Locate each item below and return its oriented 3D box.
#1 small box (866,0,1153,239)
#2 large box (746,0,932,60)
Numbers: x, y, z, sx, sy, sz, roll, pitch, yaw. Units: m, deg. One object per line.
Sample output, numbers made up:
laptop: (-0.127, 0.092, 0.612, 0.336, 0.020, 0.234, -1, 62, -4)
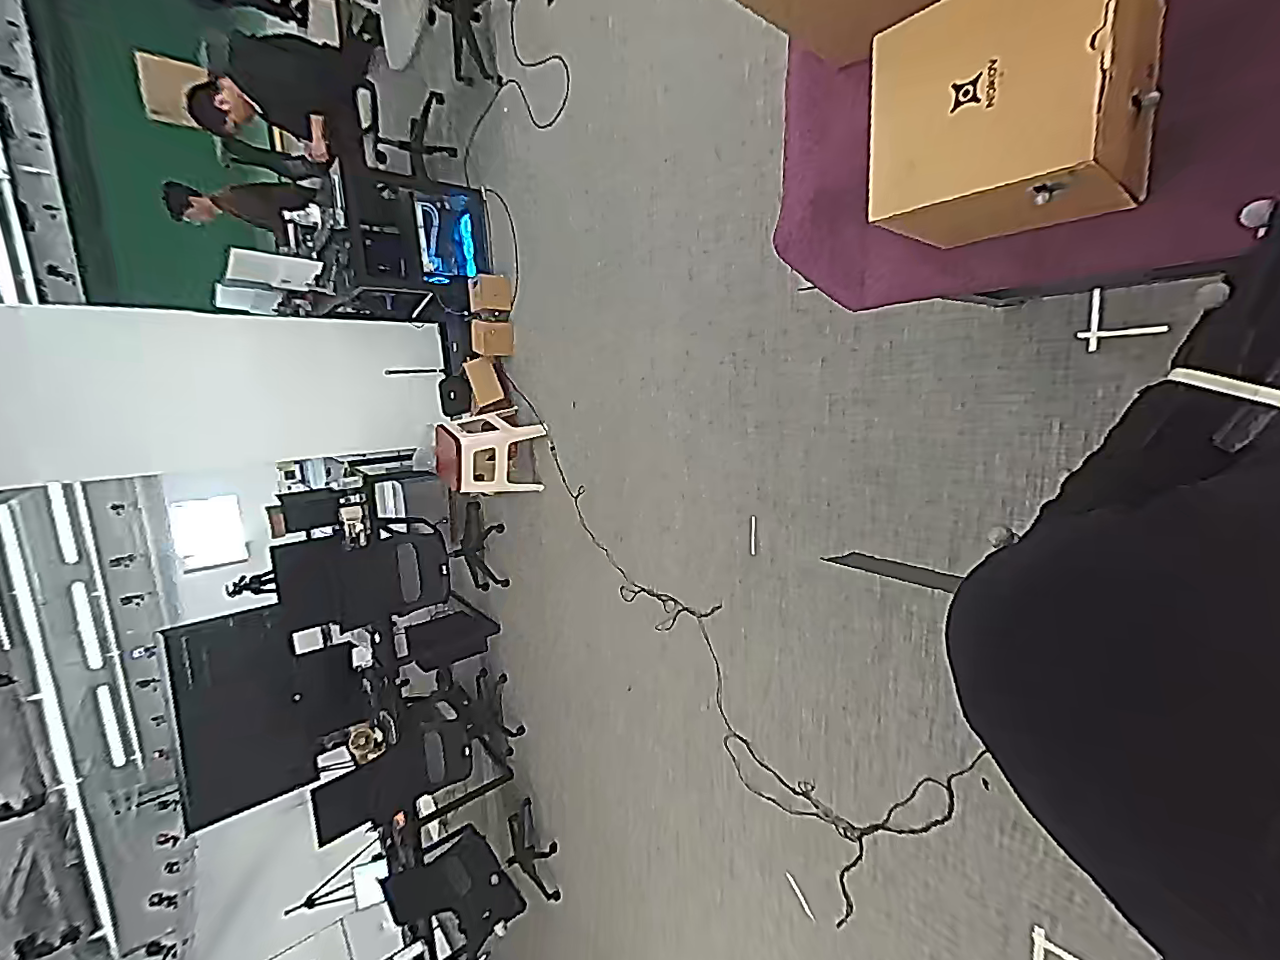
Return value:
small box: (0.337, -0.338, 0.503, 0.179, 0.176, 0.168, 8, 103, 50)
large box: (0.234, -0.672, 0.435, 0.320, 0.320, 0.408, 10, 109, 49)
